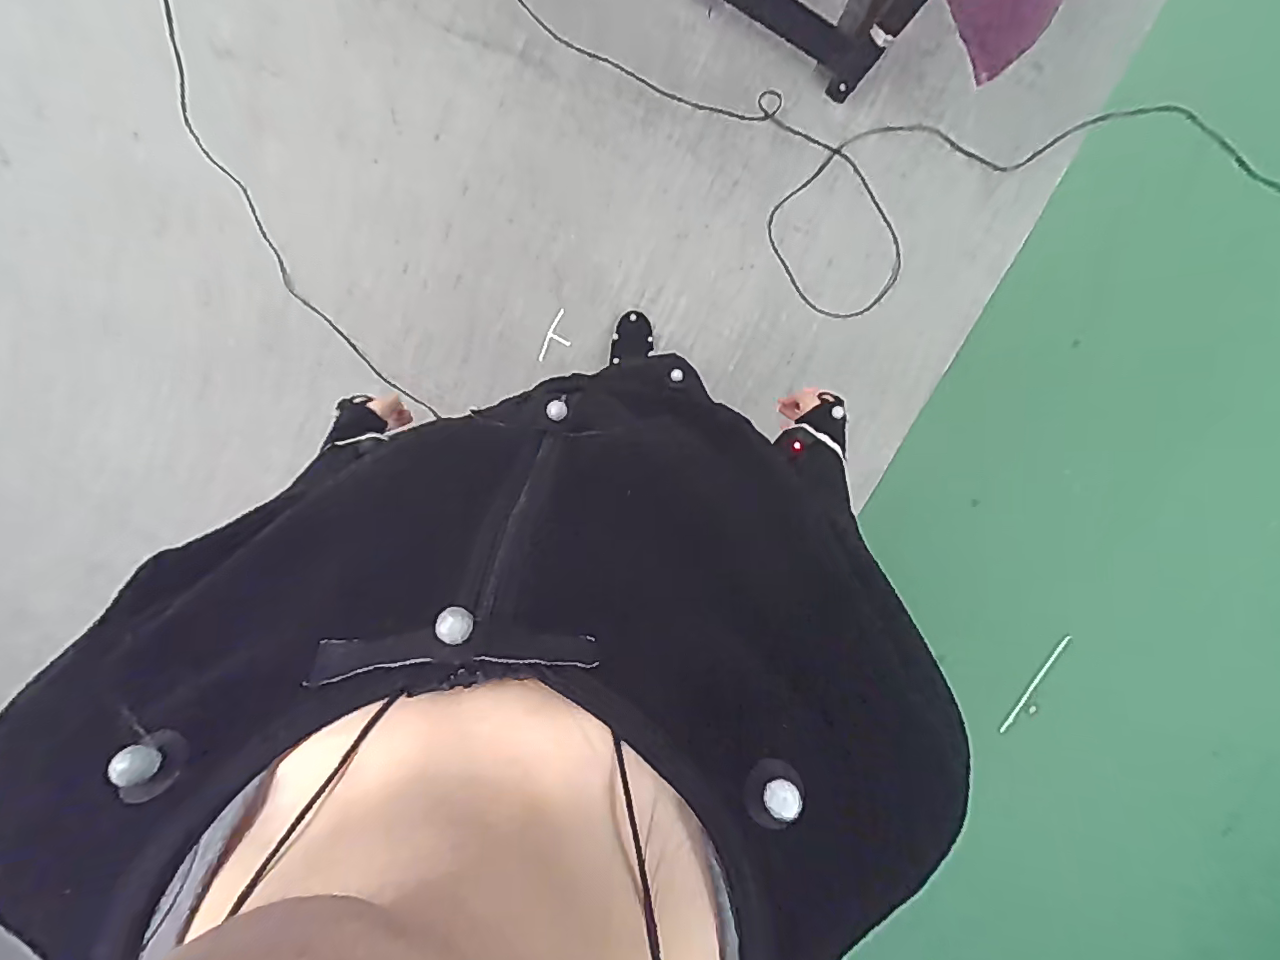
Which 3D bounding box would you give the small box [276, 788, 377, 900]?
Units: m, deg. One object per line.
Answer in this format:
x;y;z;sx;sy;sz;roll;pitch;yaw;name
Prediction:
-0.895;1.045;1.562;0.168;0.176;0.179;29;99;-8;small box
